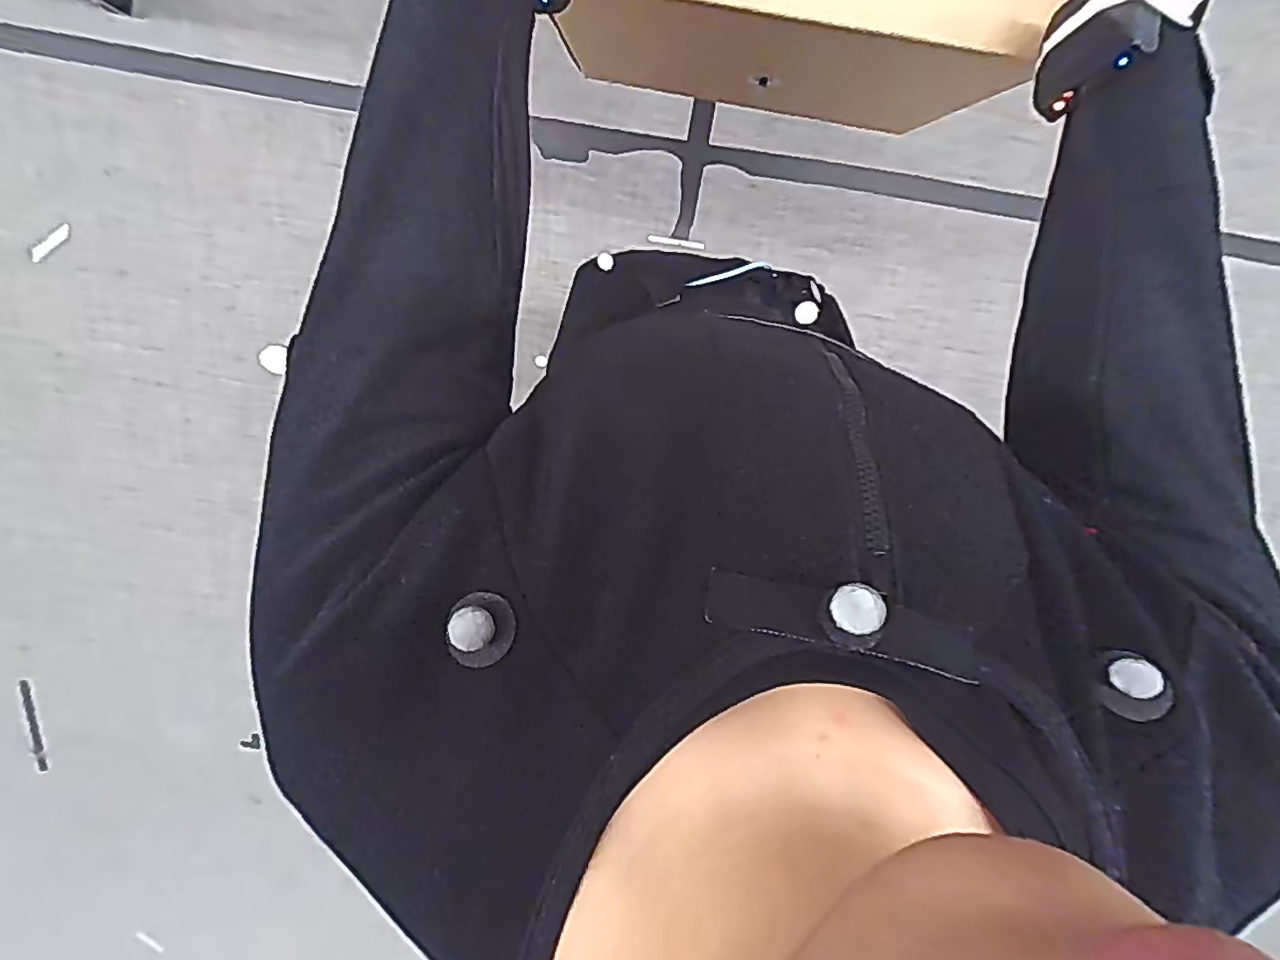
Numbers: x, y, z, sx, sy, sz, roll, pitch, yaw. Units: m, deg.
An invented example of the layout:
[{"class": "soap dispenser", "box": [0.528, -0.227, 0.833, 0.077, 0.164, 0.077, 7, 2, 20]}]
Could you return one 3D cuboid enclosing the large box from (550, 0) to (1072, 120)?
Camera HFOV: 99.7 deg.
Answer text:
[{"class": "large box", "box": [0.144, -0.545, 0.471, 0.408, 0.320, 0.320, 10, 114, -1]}]
